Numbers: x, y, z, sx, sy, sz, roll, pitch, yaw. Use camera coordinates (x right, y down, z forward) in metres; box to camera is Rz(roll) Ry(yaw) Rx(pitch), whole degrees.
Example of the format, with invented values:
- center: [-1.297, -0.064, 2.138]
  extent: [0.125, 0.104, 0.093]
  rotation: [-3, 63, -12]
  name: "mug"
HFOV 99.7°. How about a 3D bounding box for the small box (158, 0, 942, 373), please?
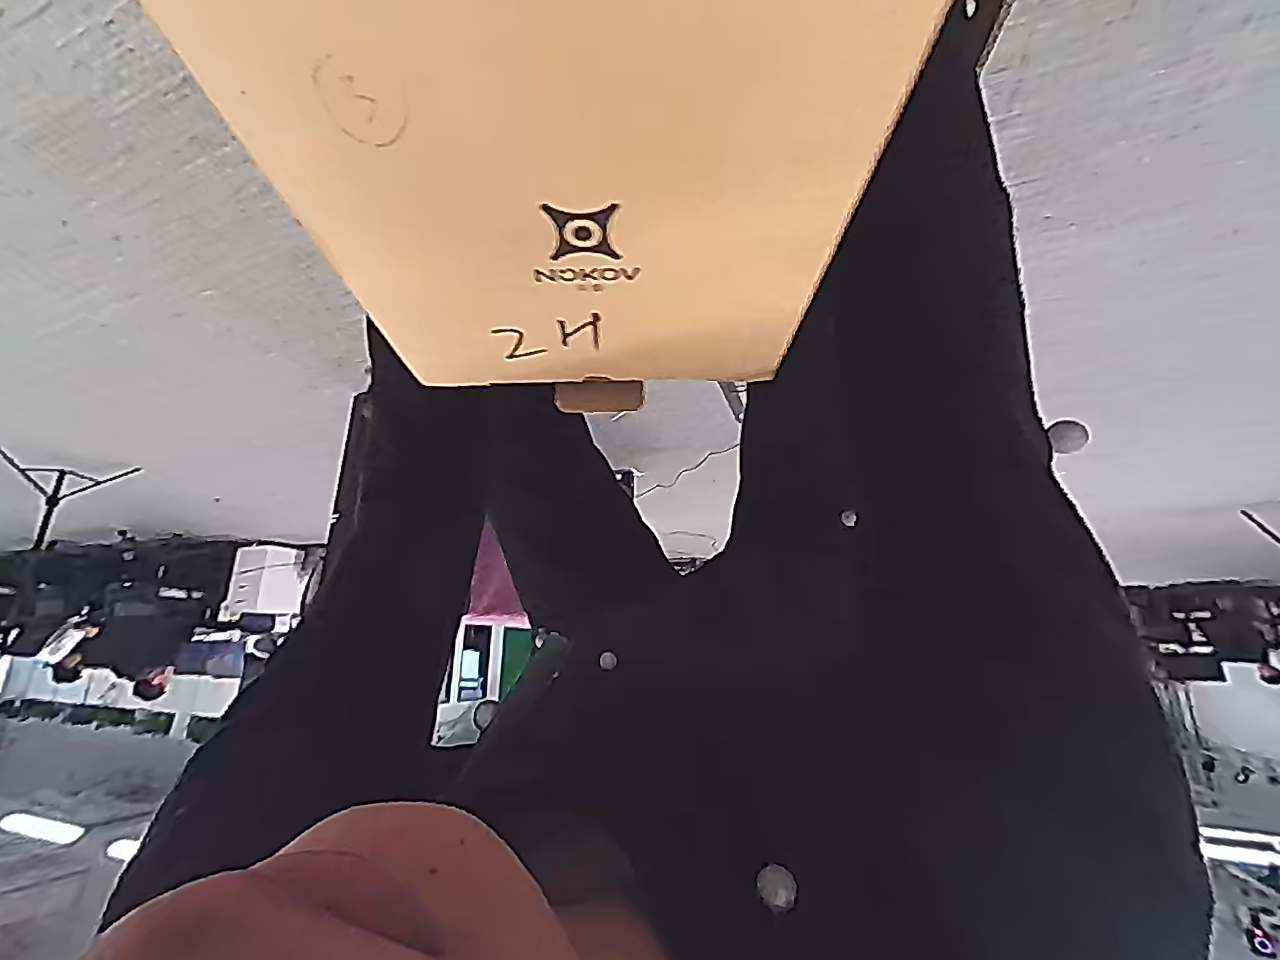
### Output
- center: [-0.021, -0.157, 0.197]
  extent: [0.168, 0.176, 0.179]
  rotation: [-1, 162, -1]
  name: "small box"
